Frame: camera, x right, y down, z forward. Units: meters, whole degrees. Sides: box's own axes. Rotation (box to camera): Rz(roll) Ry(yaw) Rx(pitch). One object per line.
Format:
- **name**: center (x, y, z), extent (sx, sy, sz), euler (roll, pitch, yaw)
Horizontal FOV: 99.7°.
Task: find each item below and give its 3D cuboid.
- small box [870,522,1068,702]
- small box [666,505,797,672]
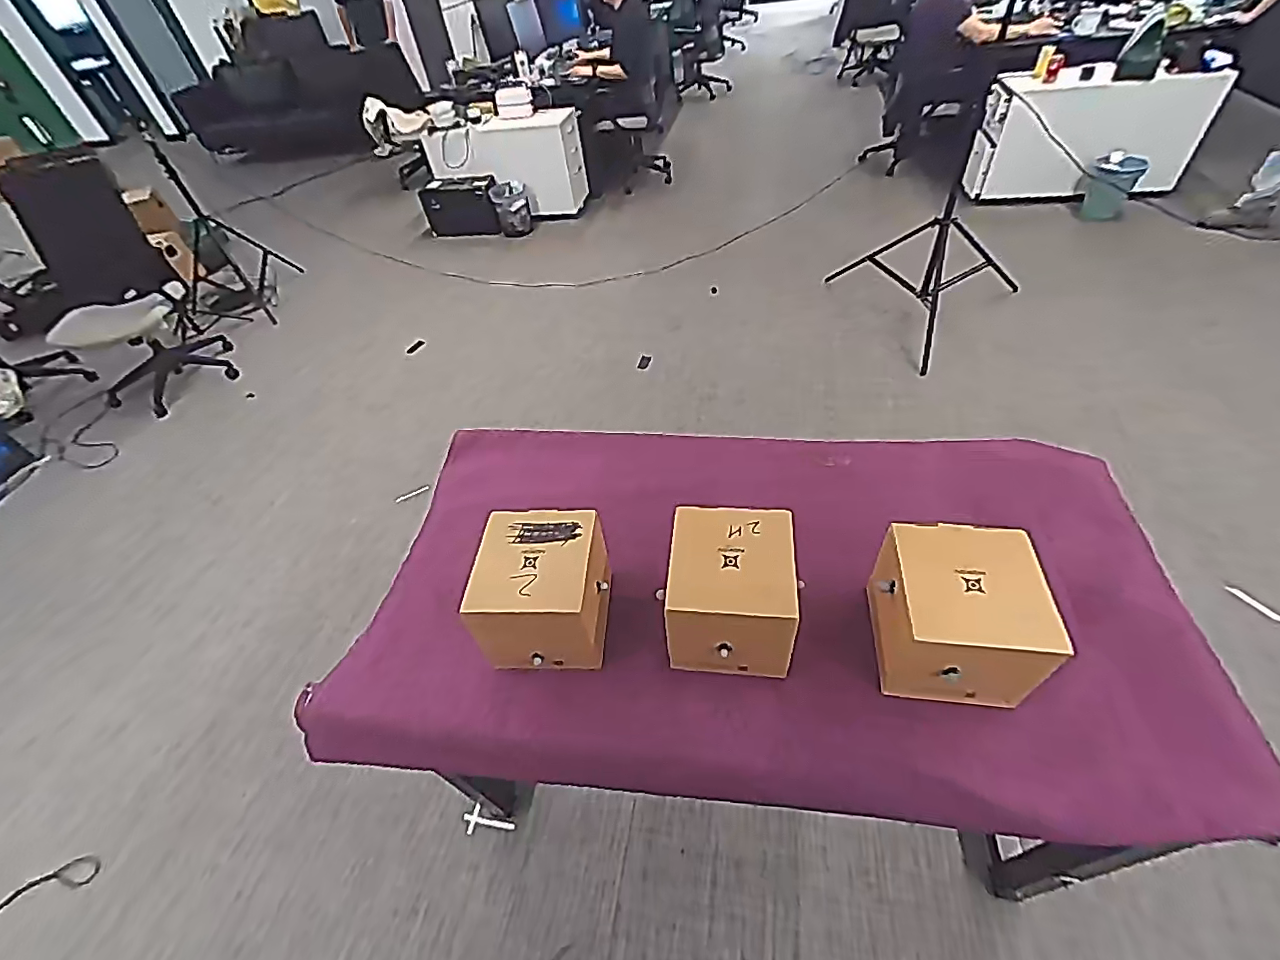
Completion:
- **small box**: center (0.417, 0.178, 0.724), extent (0.168, 0.176, 0.179), euler (2, 47, 11)
- **small box**: center (0.132, 0.158, 0.782), extent (0.168, 0.176, 0.179), euler (2, 46, 9)
